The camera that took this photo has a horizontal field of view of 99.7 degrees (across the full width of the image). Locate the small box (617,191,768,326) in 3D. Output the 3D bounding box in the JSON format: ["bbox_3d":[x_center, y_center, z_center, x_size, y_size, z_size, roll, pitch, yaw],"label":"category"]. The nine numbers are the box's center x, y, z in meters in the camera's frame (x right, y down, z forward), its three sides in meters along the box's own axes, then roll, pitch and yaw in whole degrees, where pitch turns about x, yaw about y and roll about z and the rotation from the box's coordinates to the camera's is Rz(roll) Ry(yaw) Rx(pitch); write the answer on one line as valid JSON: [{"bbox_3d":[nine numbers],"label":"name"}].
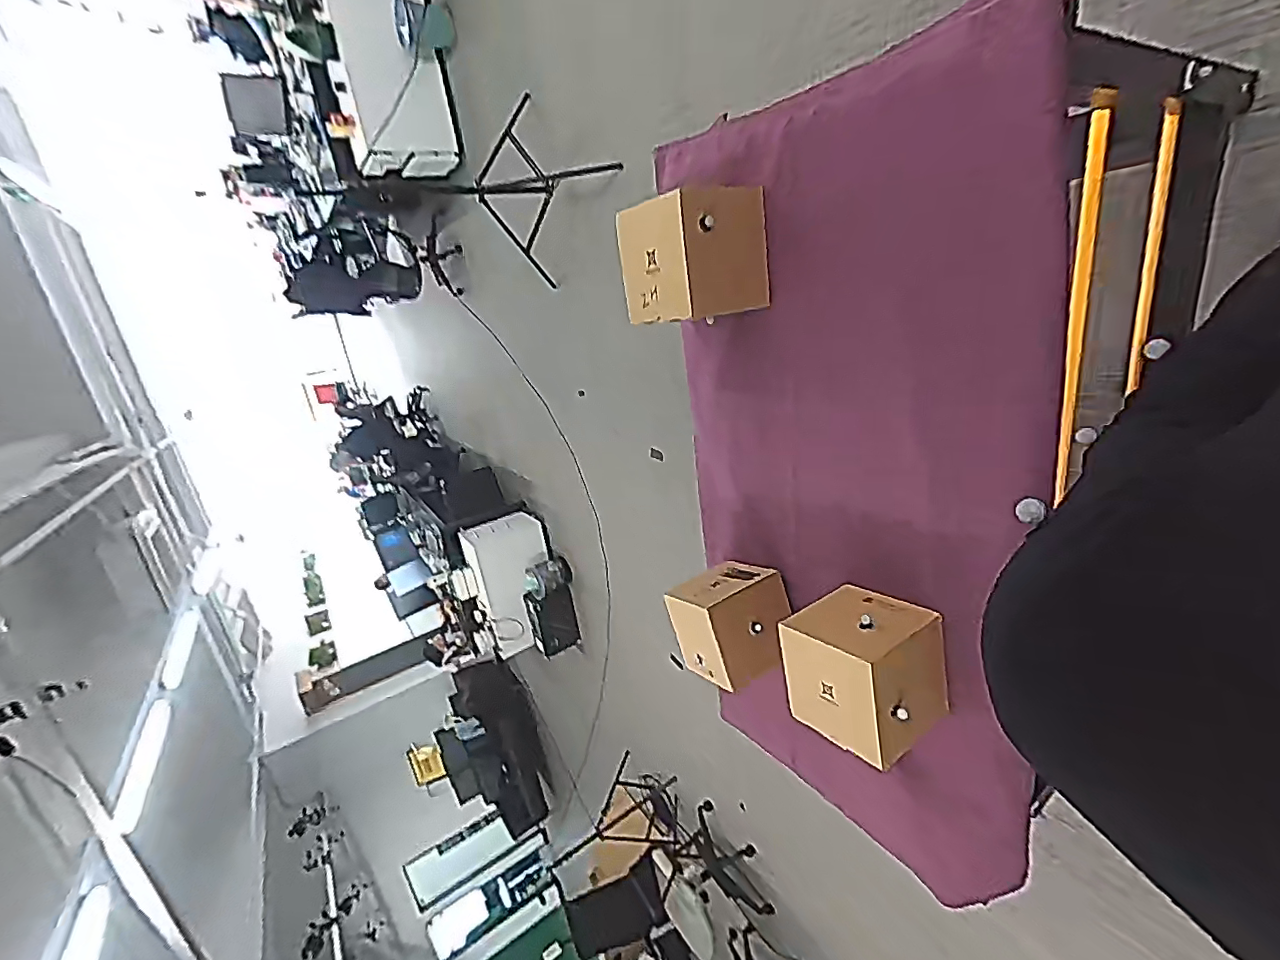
[{"bbox_3d":[0.087,-0.349,0.865,0.168,0.176,0.179,18,122,54],"label":"small box"}]

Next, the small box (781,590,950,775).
[{"bbox_3d":[0.343,0.289,0.821,0.168,0.176,0.179,10,116,58],"label":"small box"}]
